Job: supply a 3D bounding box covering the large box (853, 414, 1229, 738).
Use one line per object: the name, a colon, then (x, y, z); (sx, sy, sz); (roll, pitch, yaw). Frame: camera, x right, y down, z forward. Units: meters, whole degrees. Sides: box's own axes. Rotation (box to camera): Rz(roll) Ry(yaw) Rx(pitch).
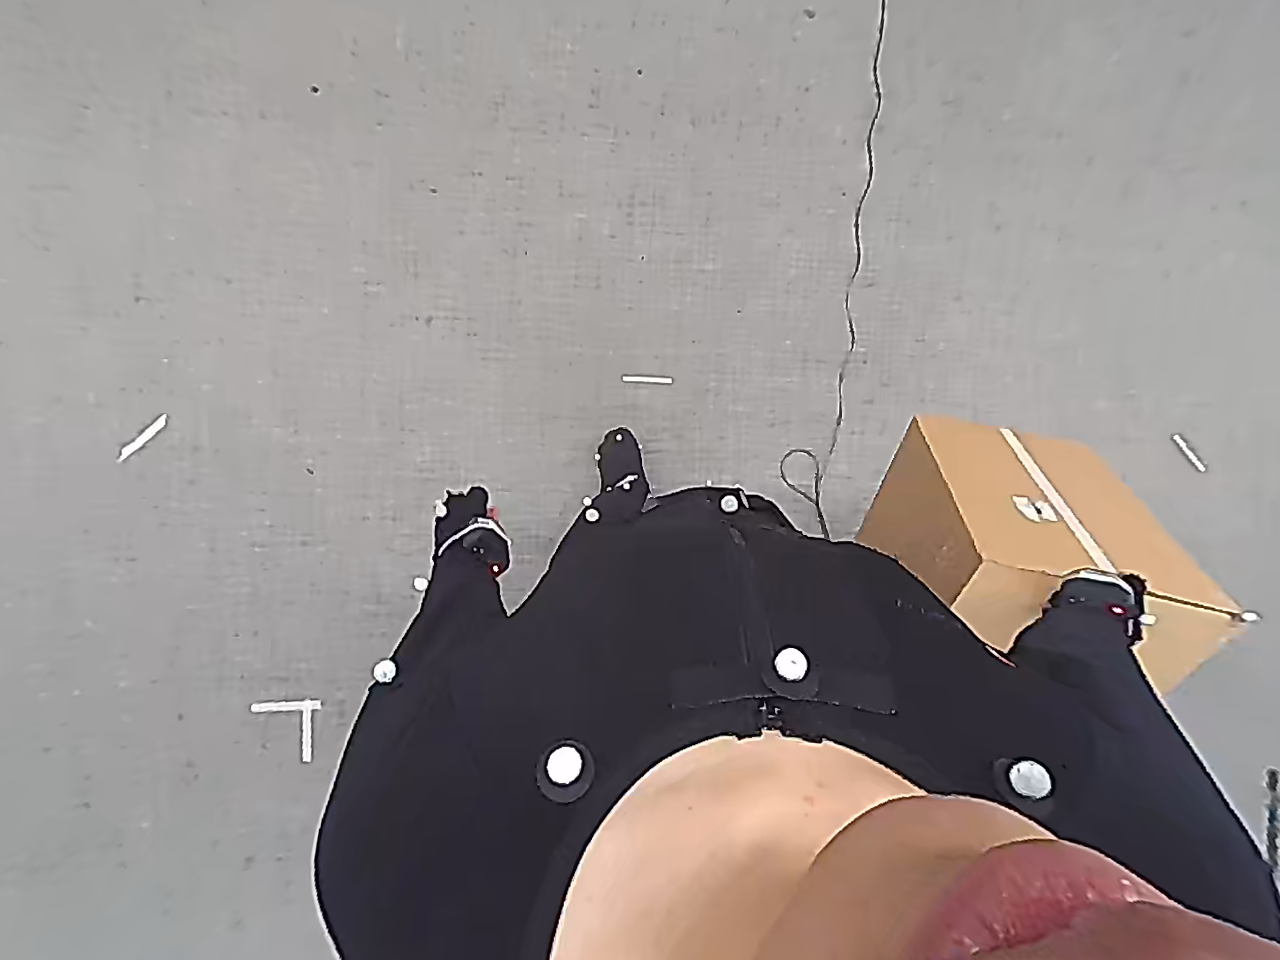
large box: (0.594, 0.142, 0.922); (0.320, 0.408, 0.320); (13, 127, 4)
